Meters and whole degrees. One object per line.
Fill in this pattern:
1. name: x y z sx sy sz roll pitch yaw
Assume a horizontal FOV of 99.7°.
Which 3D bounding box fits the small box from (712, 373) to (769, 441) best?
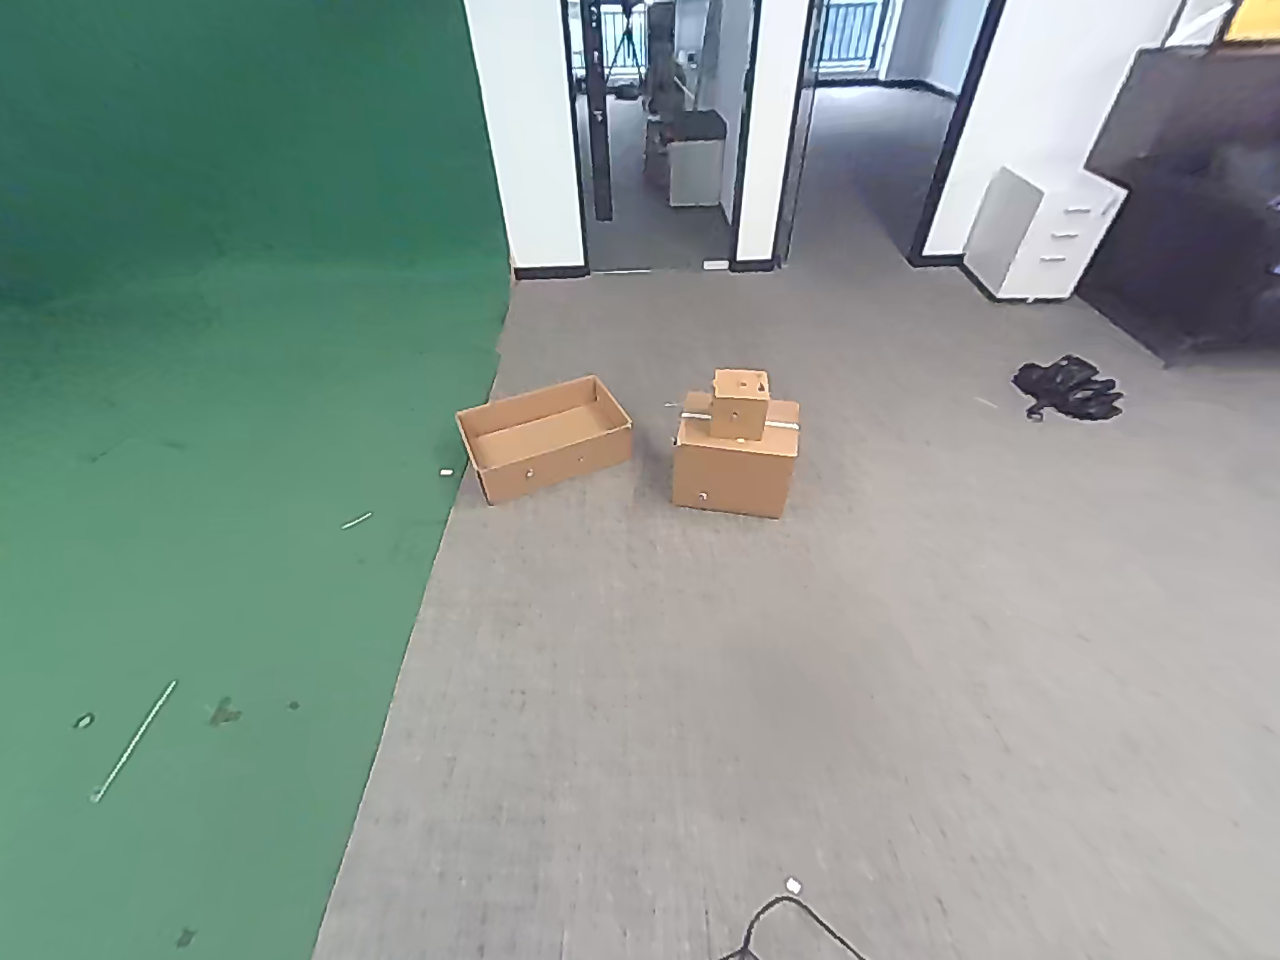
1. small box: 0.334 -0.246 1.824 0.179 0.176 0.168 3 45 6
